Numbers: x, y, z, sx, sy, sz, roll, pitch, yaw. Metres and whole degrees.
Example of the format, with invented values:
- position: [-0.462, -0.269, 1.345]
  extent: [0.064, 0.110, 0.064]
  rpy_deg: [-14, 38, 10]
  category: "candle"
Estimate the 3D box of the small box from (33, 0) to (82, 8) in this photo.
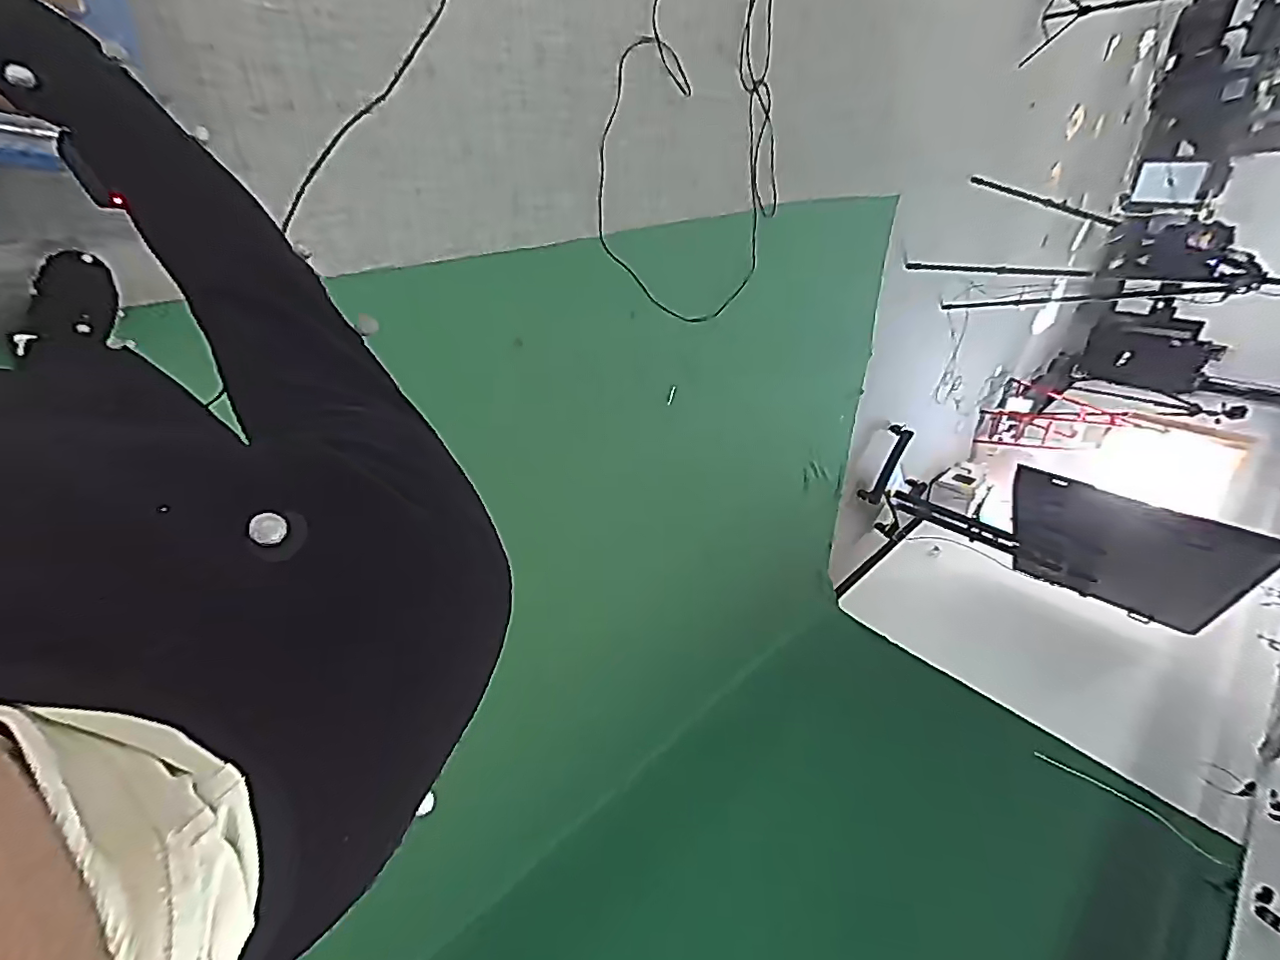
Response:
- position: [-0.879, -0.771, 0.714]
  extent: [0.168, 0.176, 0.179]
  rpy_deg: [-17, 124, -39]
  category: "small box"
